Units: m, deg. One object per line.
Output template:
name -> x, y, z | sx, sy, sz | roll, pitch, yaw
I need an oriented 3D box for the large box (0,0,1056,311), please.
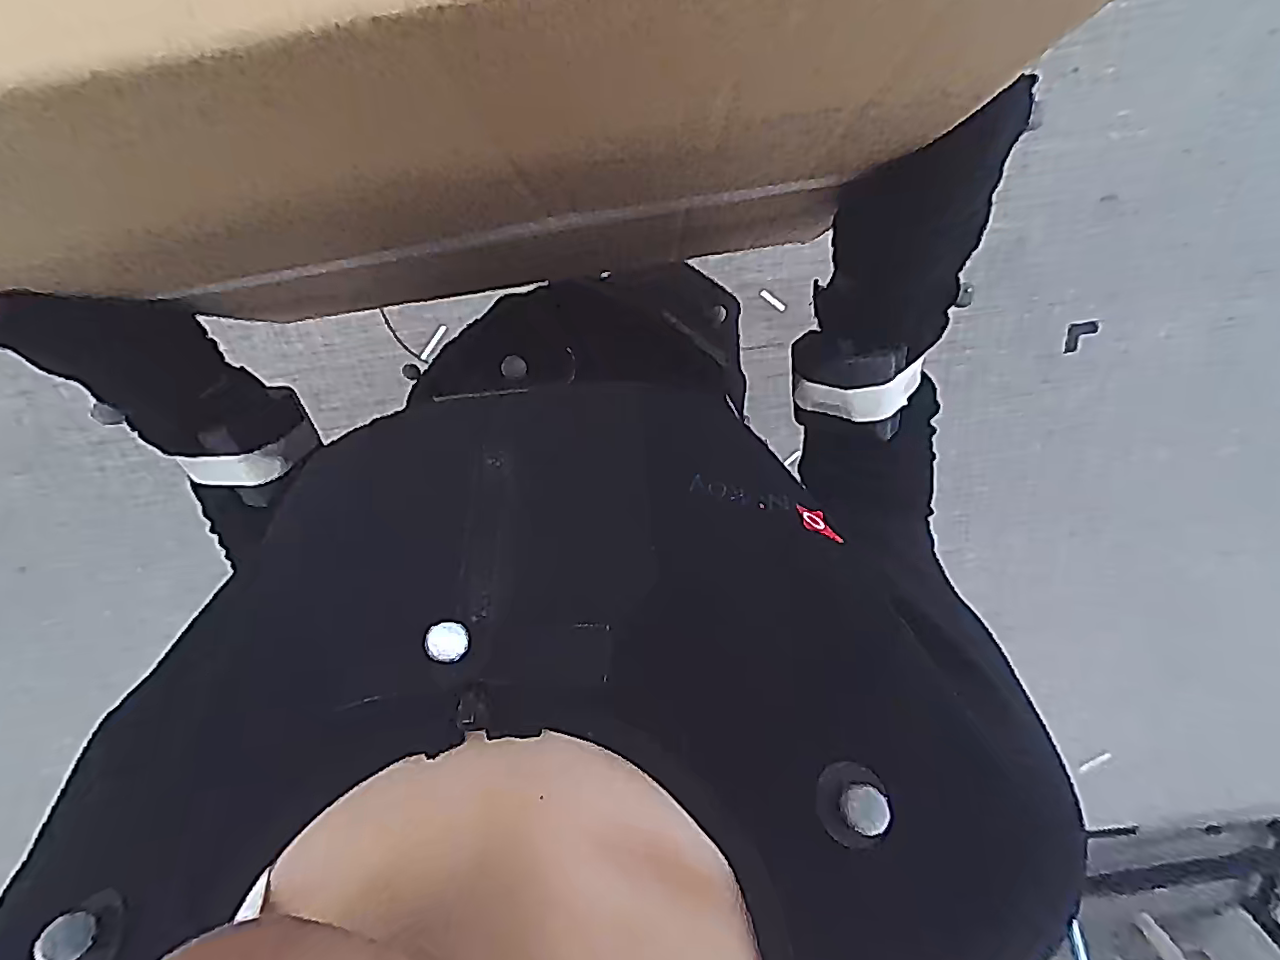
large box -> -0.100, -0.275, 0.231 | 0.408, 0.320, 0.320 | -8, 102, 3
